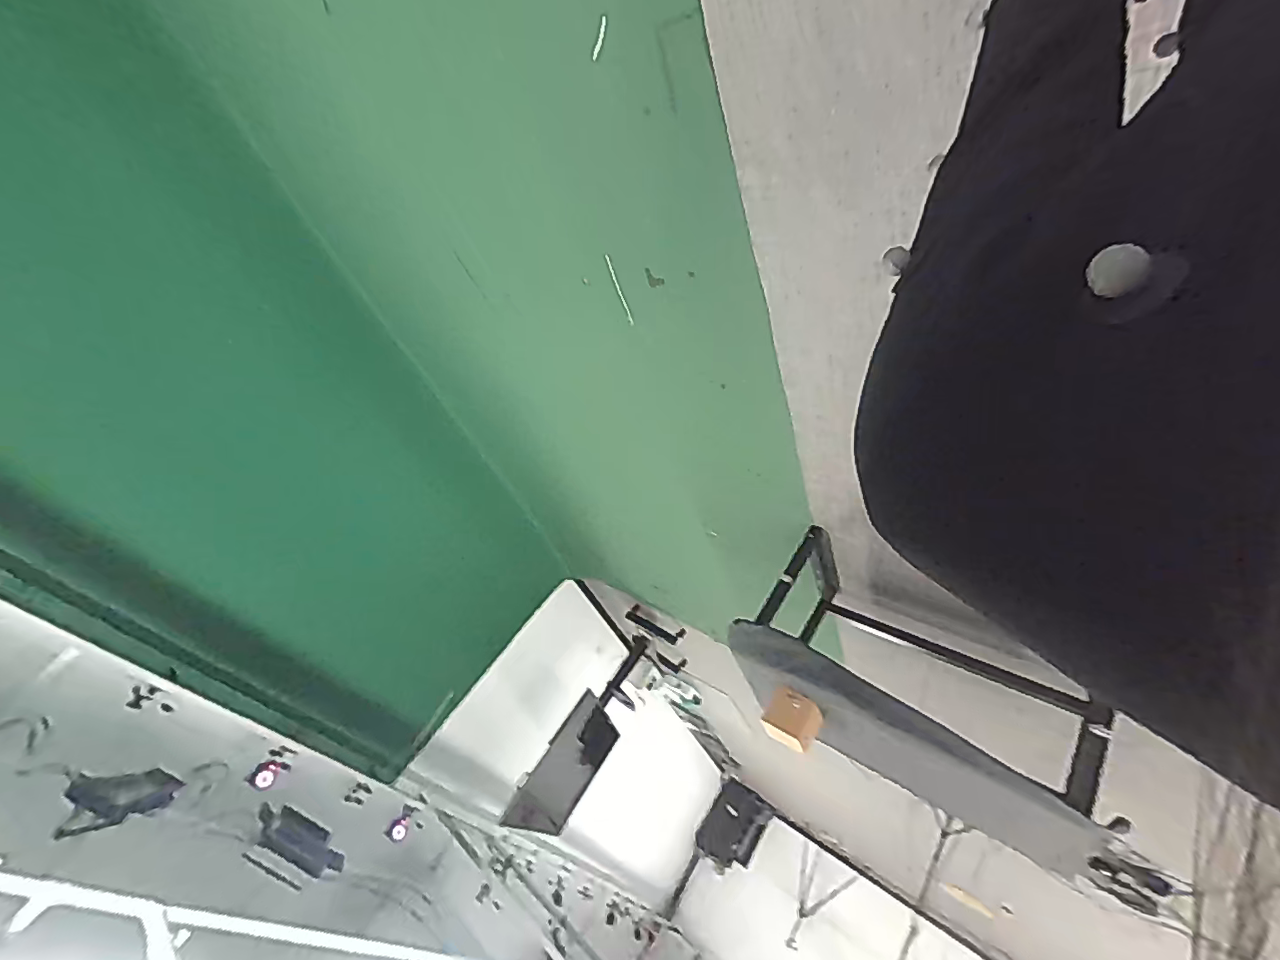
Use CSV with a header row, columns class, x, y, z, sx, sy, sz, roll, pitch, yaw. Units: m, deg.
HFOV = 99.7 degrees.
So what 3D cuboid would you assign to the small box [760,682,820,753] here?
class,x,y,z,sx,sy,sz,roll,pitch,yaw
small box,0.606,0.948,2.166,0.168,0.176,0.179,15,145,39
